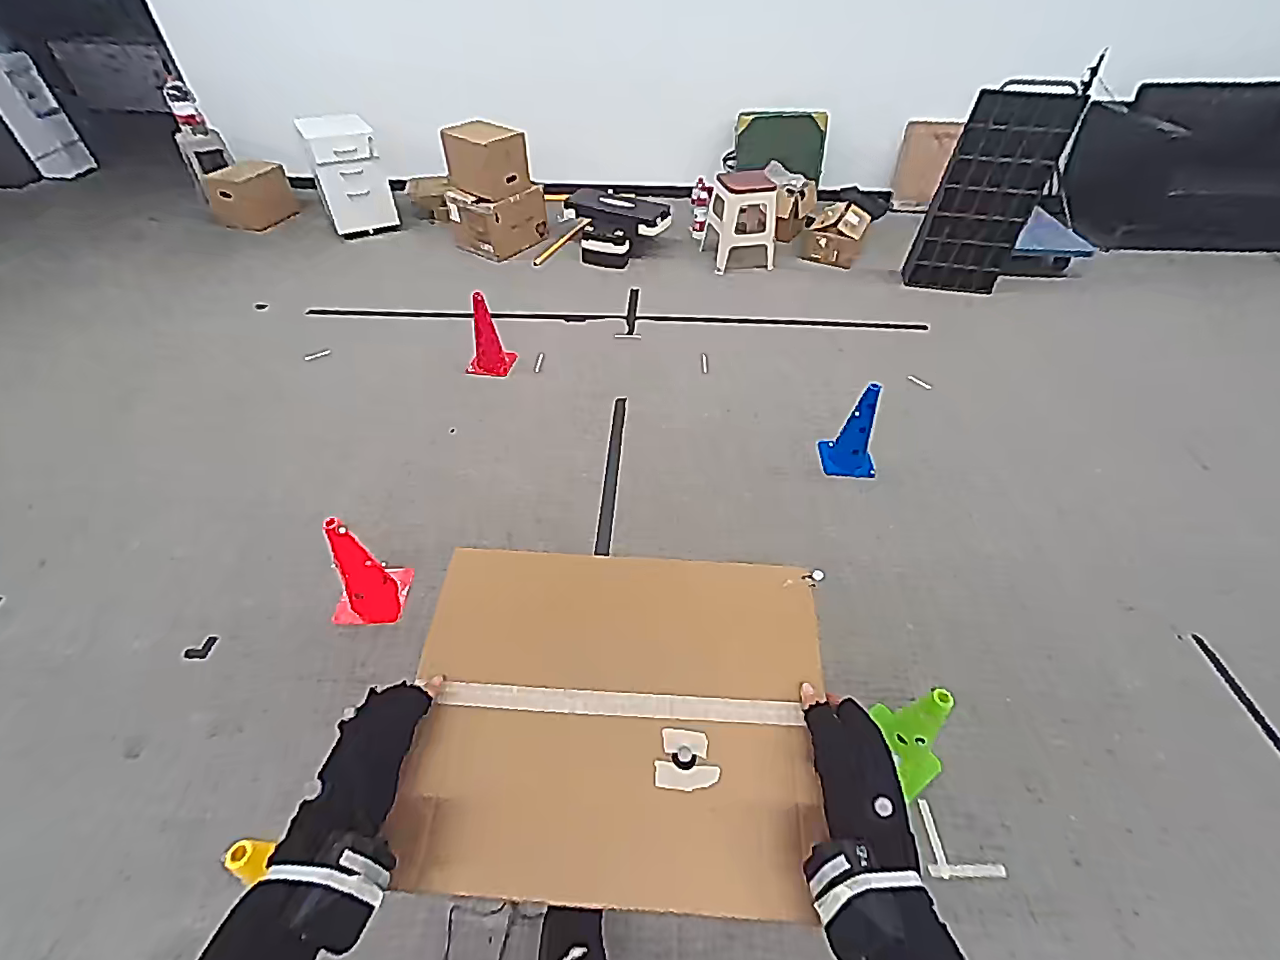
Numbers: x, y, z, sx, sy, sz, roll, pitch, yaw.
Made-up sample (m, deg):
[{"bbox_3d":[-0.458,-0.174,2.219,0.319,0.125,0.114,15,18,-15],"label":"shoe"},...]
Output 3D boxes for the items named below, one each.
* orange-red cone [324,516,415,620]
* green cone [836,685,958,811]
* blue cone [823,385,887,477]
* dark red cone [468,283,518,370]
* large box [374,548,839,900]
[{"bbox_3d":[-0.825,0.234,1.573,0.198,0.360,0.199,0,47,0],"label":"orange-red cone"},{"bbox_3d":[0.639,0.580,1.256,0.202,0.368,0.200,-25,52,-25],"label":"green cone"},{"bbox_3d":[0.844,-0.199,2.052,0.192,0.380,0.193,5,46,3],"label":"blue cone"},{"bbox_3d":[-0.694,-0.704,2.465,0.201,0.394,0.202,7,46,5],"label":"dark red cone"},{"bbox_3d":[-0.024,0.297,0.660,0.408,0.320,0.320,3,56,2],"label":"large box"}]
